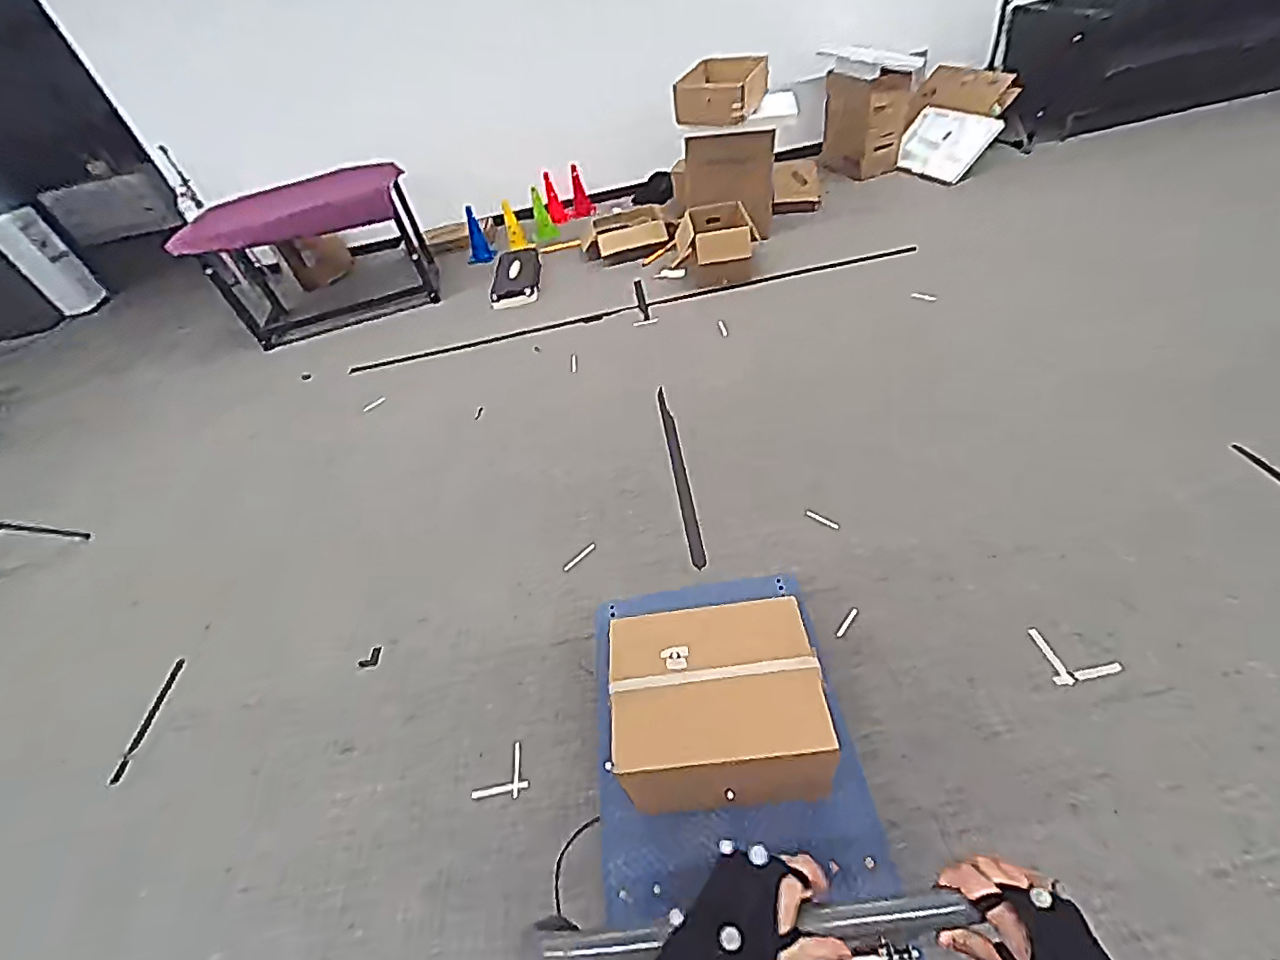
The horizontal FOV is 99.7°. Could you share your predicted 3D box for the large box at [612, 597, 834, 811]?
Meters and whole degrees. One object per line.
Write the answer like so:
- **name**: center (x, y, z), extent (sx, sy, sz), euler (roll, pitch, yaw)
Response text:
- **large box**: center (0.169, 0.493, 1.179), extent (0.408, 0.320, 0.320), euler (-9, 44, 5)
